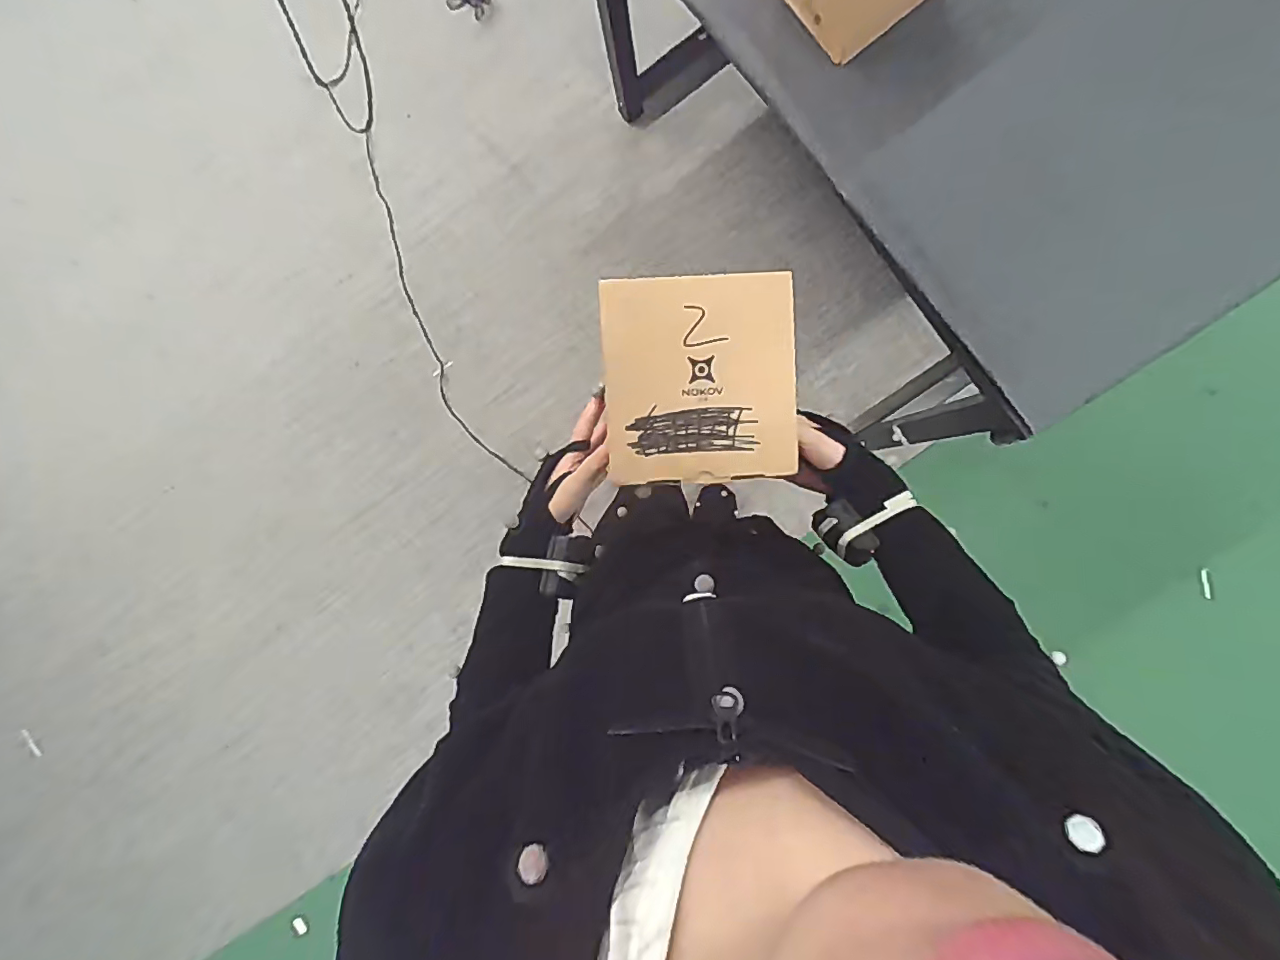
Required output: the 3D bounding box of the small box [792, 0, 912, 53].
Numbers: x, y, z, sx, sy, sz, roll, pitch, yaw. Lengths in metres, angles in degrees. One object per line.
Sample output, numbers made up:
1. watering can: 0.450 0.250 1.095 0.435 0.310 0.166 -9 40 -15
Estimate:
1. small box: 0.289 -0.698 0.665 0.179 0.176 0.168 -37 88 4
